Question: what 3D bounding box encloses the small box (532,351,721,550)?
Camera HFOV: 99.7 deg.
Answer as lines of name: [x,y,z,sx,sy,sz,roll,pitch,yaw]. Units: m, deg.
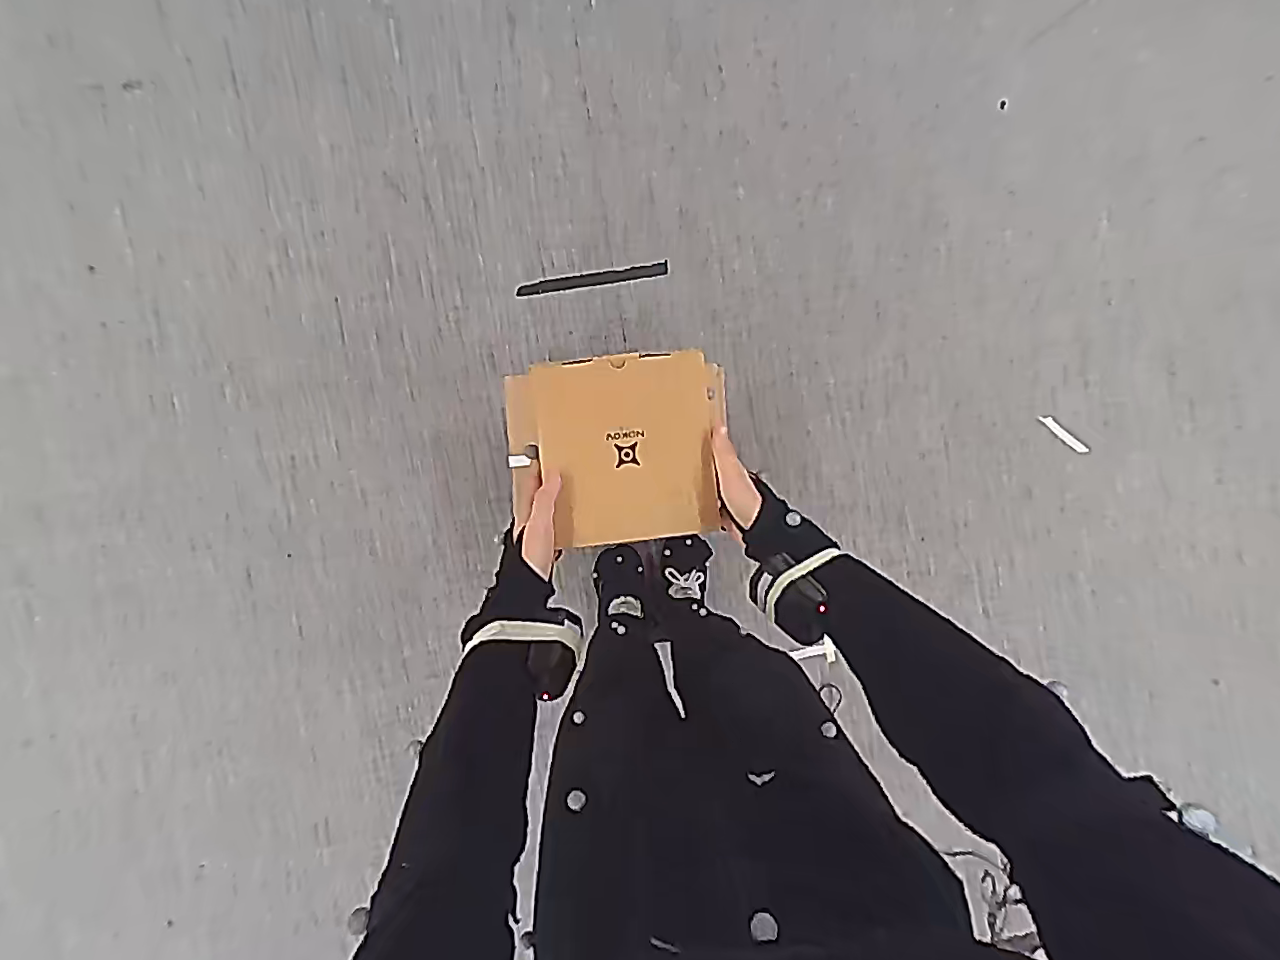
small box: [-0.017,-0.030,0.585,0.168,0.176,0.179,-6,91,-5]
